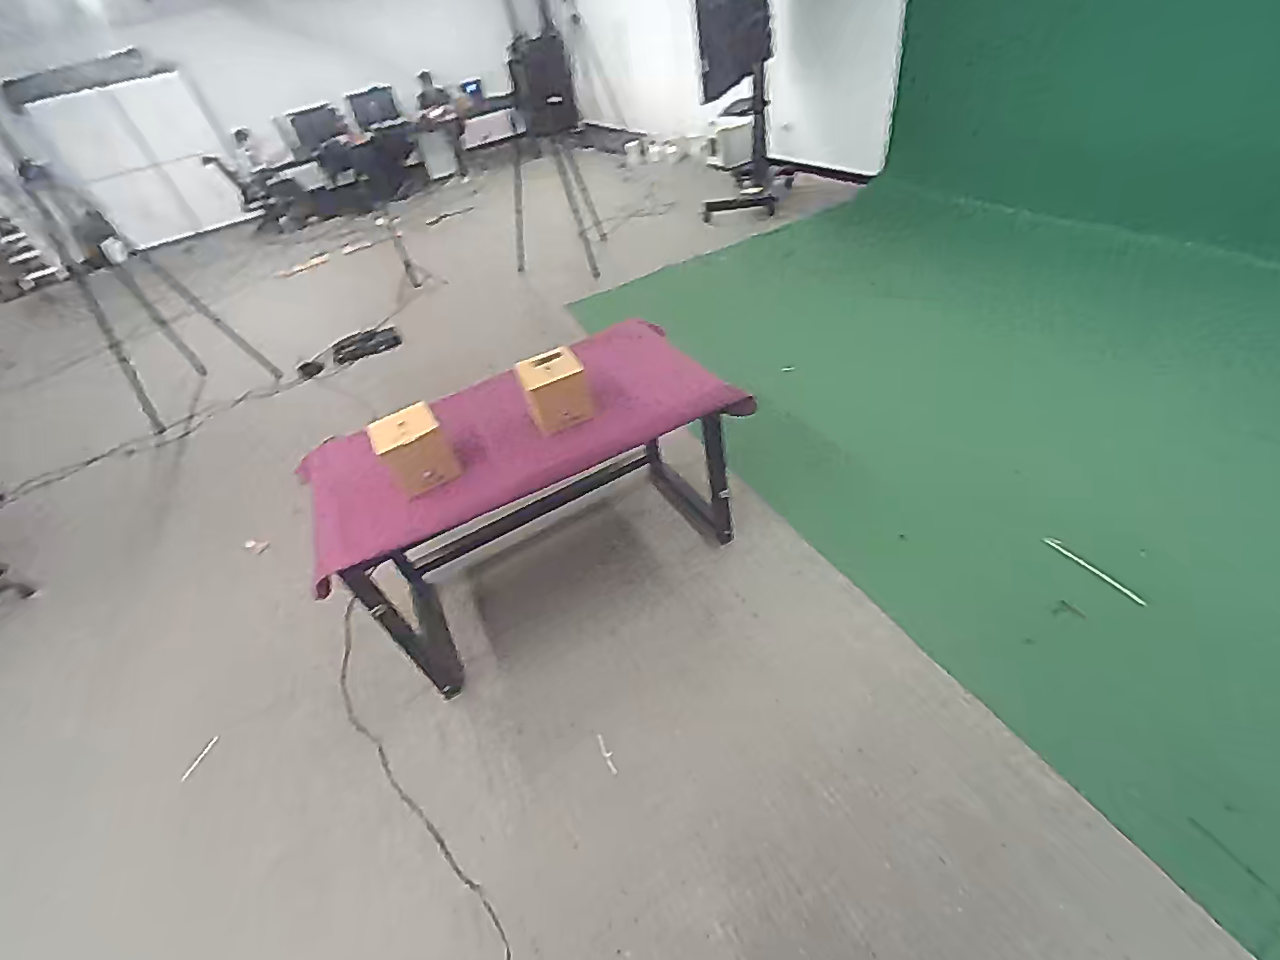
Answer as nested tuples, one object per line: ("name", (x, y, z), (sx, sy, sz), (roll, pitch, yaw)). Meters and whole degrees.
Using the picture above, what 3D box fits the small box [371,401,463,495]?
("small box", (-0.617, -0.087, 1.502), (0.168, 0.176, 0.179), (-28, 44, -17))
